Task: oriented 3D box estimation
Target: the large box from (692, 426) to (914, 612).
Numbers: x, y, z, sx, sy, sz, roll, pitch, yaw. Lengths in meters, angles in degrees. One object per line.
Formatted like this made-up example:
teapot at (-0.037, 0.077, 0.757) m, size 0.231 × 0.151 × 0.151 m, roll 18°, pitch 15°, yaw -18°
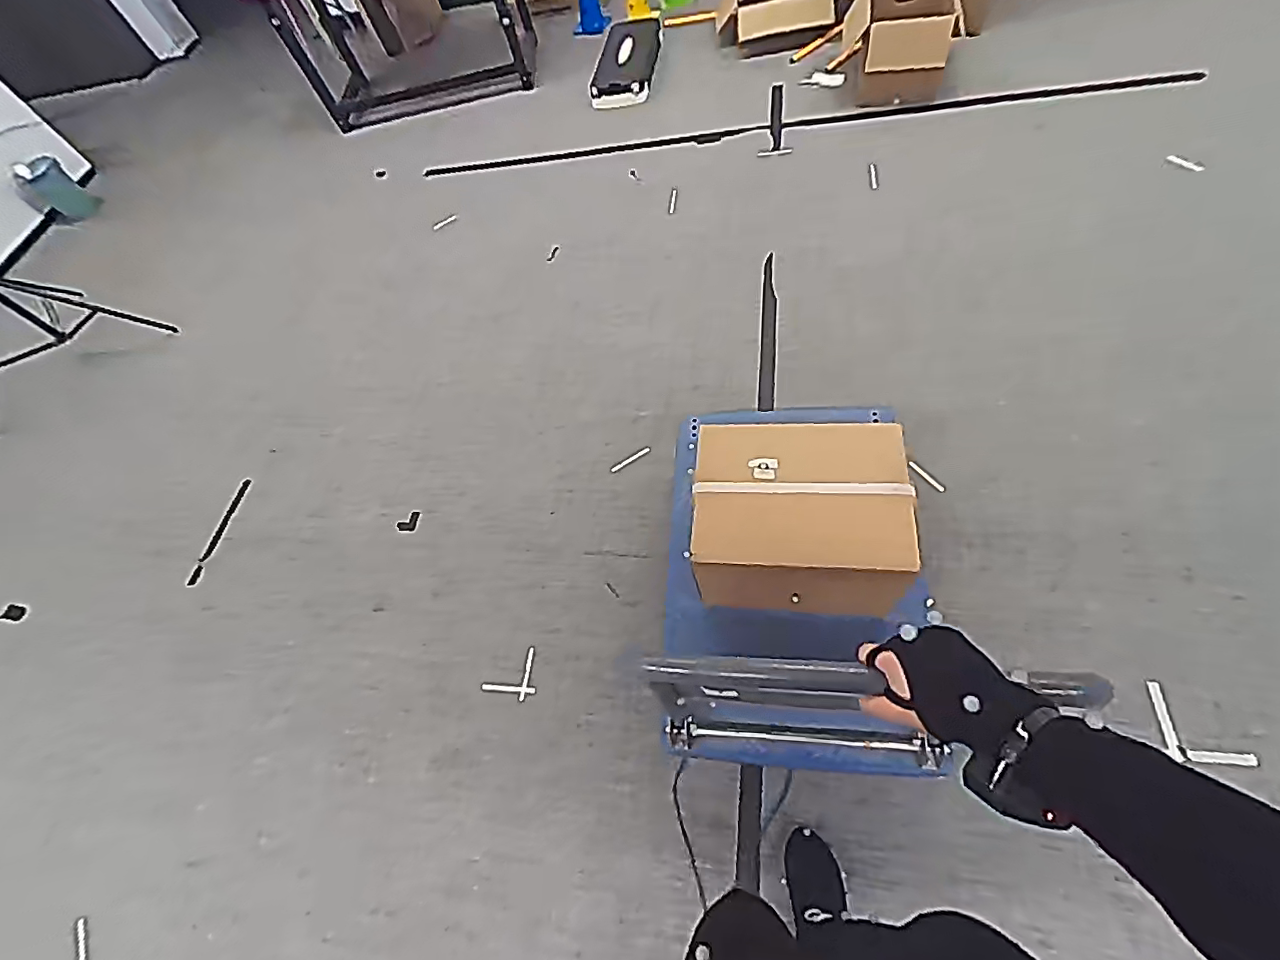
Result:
large box at (0.338, 0.098, 1.194) m, size 0.408 × 0.320 × 0.320 m, roll 0°, pitch 61°, yaw 13°
